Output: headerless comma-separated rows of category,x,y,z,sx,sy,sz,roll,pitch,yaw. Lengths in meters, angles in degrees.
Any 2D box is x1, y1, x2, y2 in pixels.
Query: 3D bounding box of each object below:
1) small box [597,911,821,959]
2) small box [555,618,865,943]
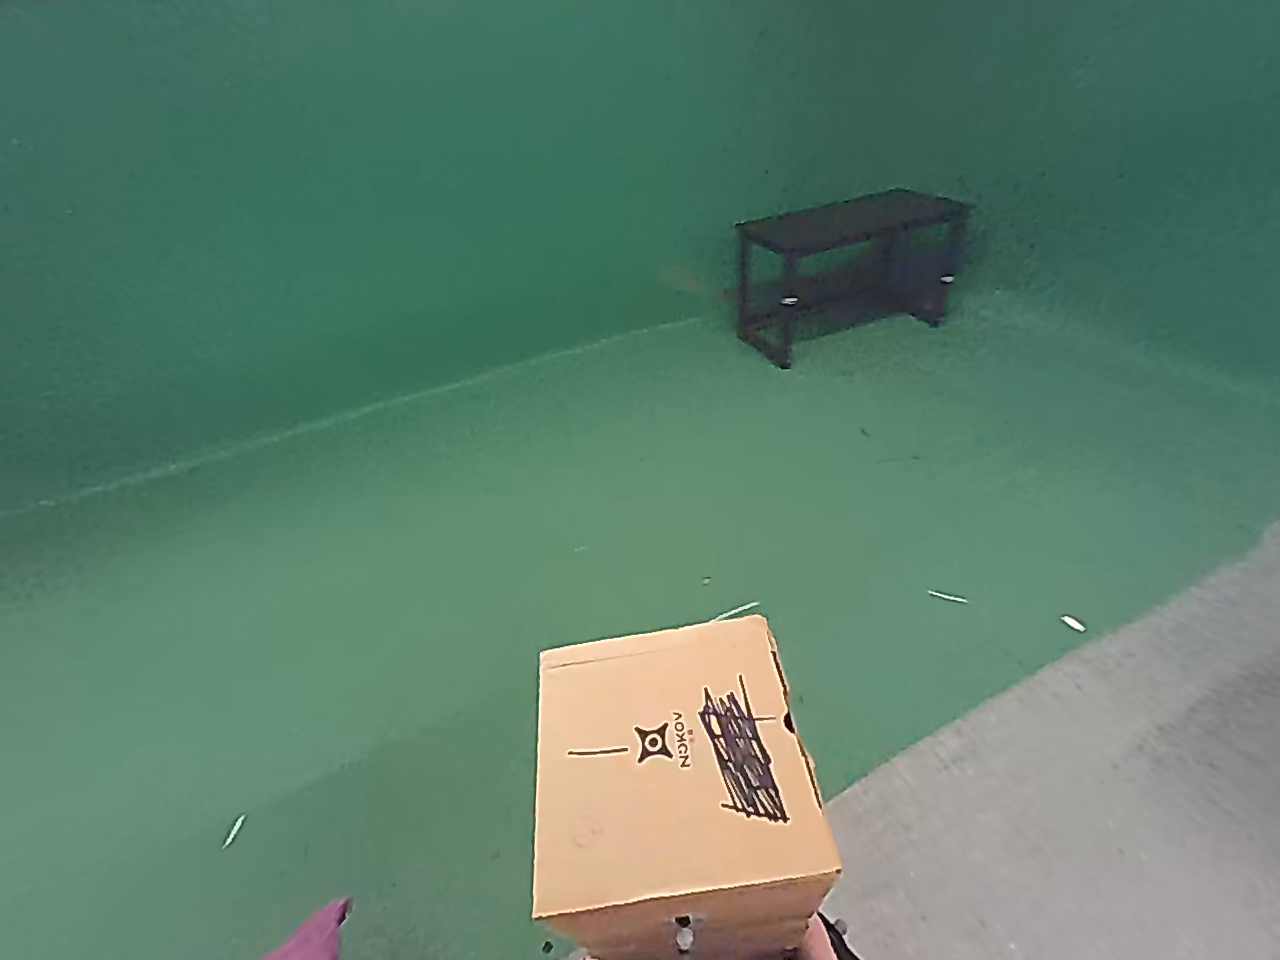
small box,0.059,0.347,0.522,0.179,0.176,0.168,-8,45,3
small box,0.041,0.228,0.408,0.179,0.176,0.168,-9,44,1
